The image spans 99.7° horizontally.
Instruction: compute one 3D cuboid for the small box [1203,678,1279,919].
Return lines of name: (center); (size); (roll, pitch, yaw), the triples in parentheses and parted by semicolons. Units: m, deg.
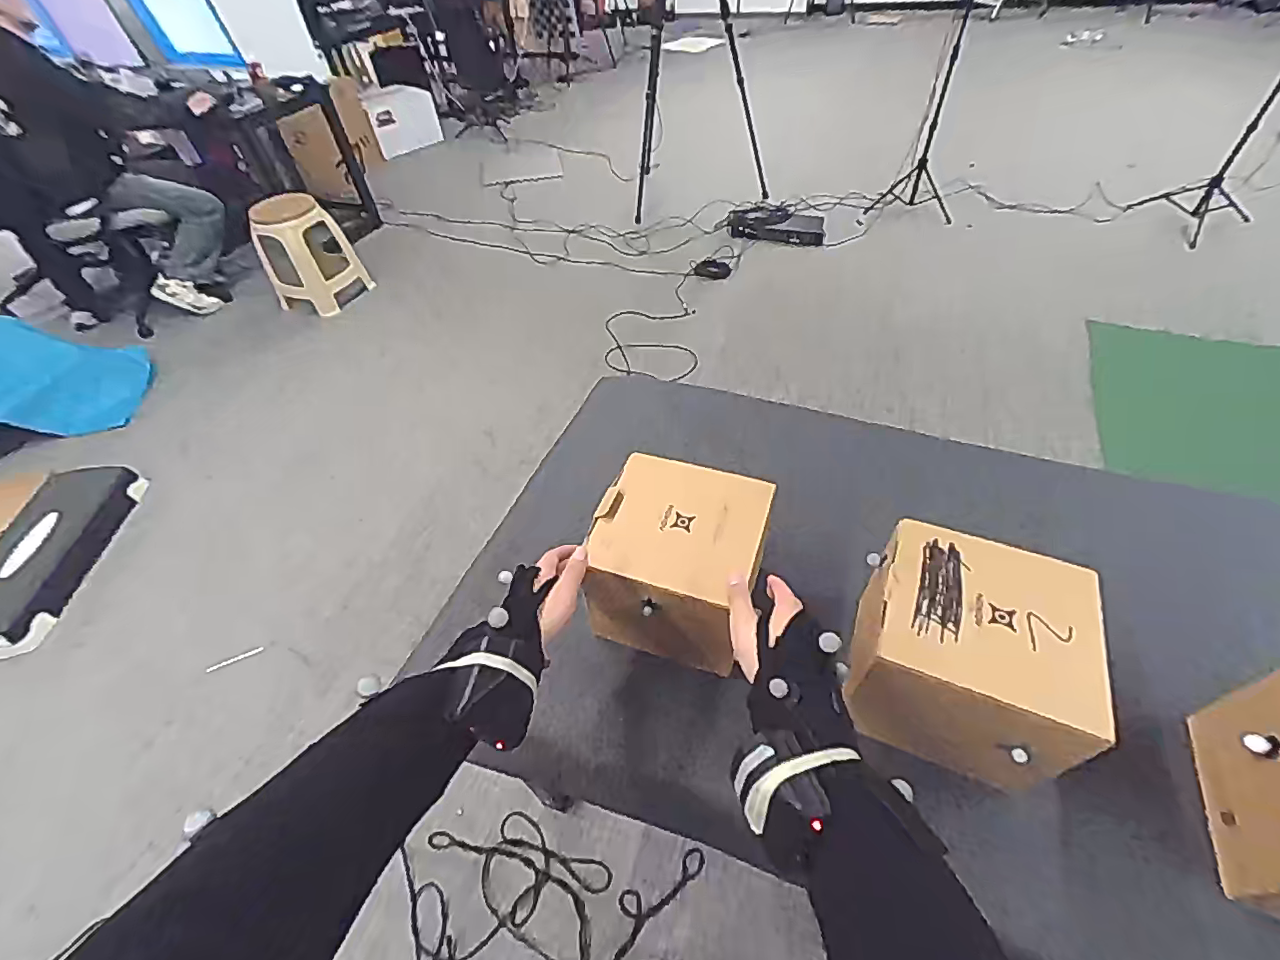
small box: (0.605, 0.272, 0.424); (0.179, 0.176, 0.168); (16, 51, 18)
